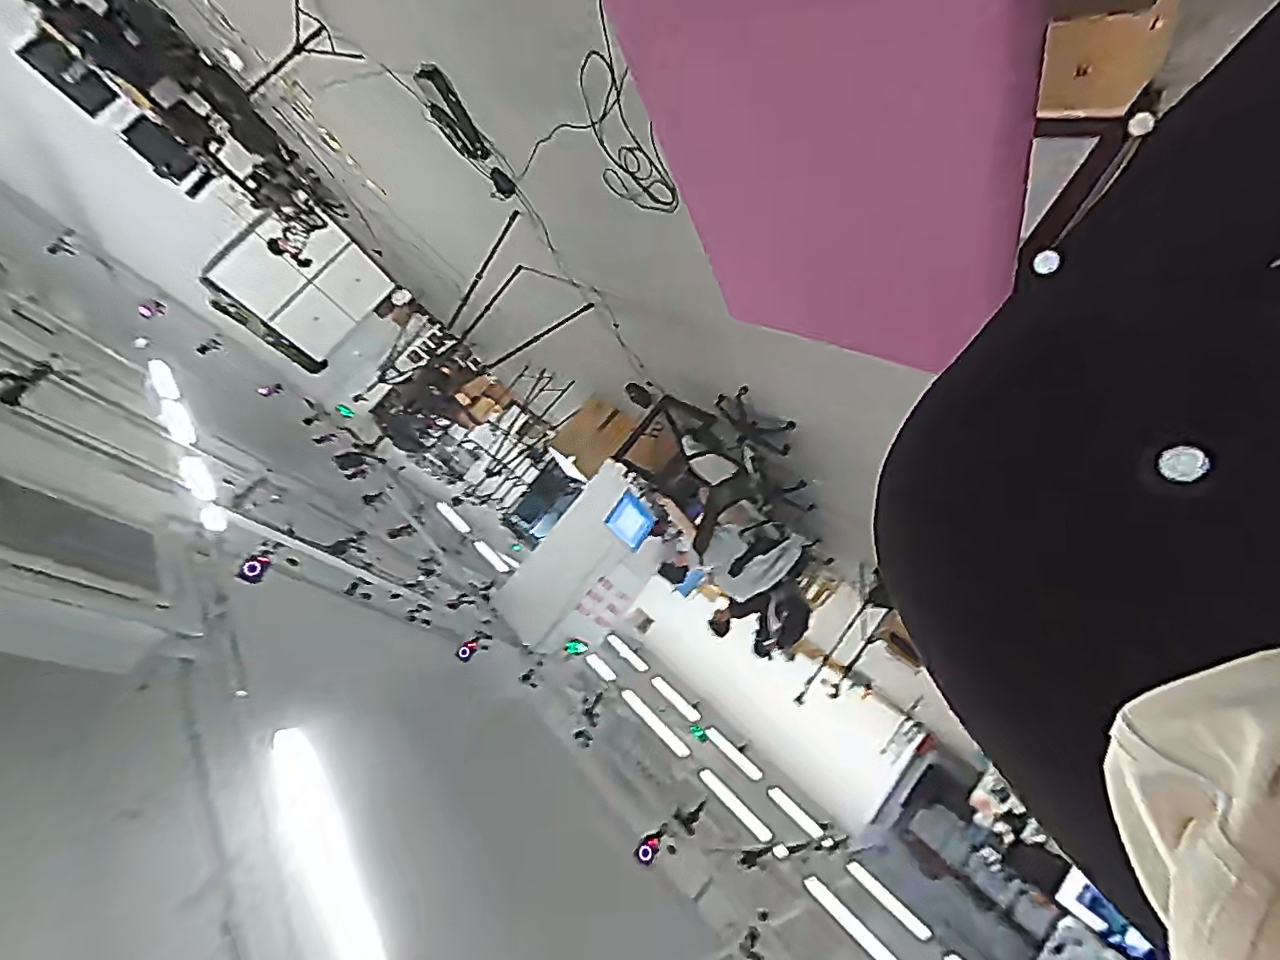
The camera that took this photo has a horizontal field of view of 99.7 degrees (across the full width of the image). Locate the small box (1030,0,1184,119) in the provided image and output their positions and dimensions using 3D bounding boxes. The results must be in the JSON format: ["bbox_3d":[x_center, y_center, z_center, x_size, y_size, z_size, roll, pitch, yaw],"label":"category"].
[{"bbox_3d":[0.875,-0.819,1.016,0.168,0.176,0.179,32,168,40],"label":"small box"}]
